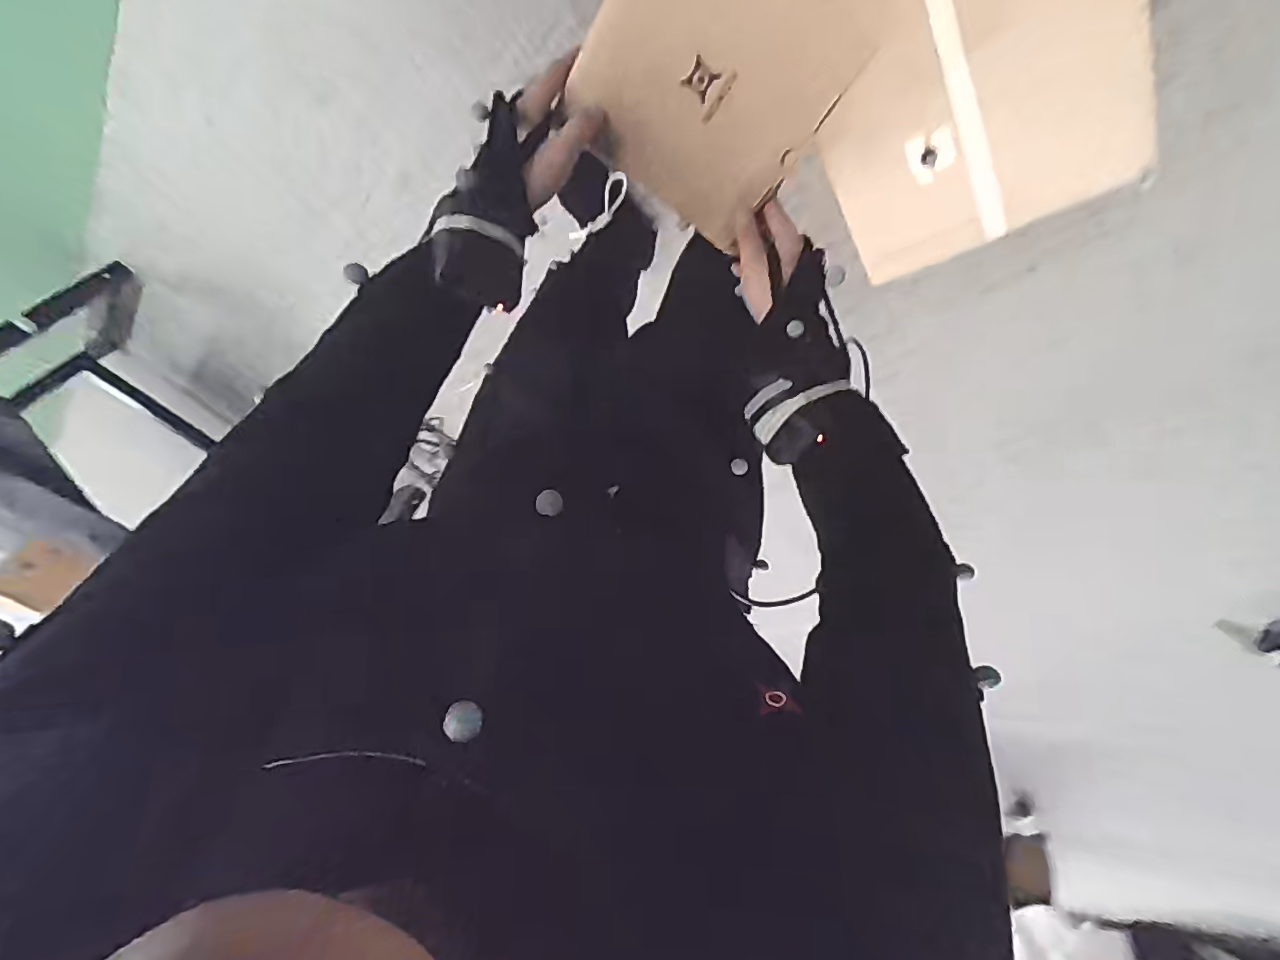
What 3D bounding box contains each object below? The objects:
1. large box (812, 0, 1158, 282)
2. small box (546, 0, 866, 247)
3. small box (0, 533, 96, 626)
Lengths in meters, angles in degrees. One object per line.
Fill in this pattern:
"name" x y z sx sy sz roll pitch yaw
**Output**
"large box" 0.389 -0.553 0.685 0.320 0.320 0.408 -14 131 36
"small box" 0.049 -0.336 0.456 0.179 0.176 0.168 29 126 -17
"small box" -1.604 0.261 1.430 0.168 0.176 0.179 40 138 -21
